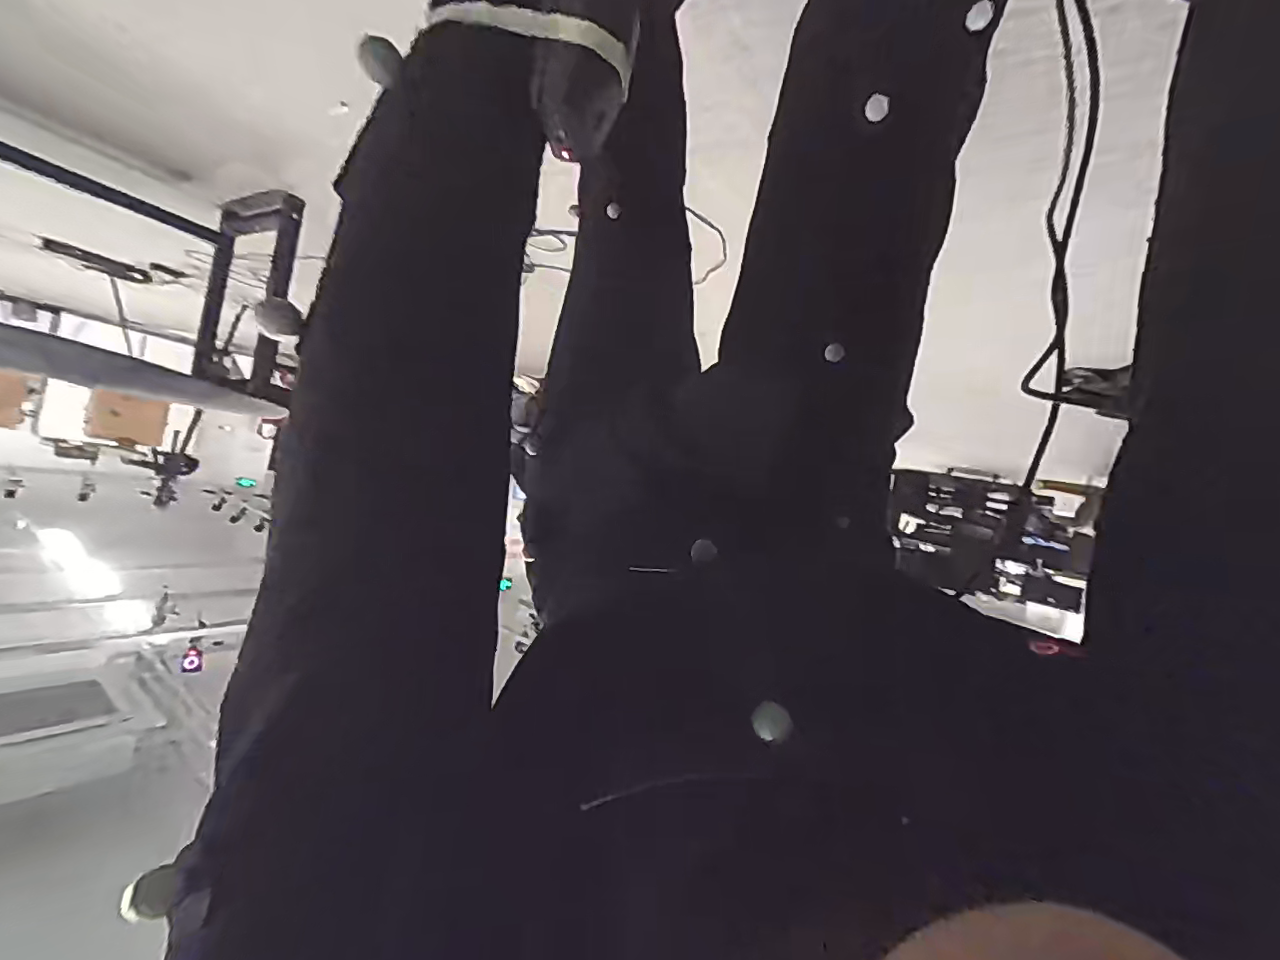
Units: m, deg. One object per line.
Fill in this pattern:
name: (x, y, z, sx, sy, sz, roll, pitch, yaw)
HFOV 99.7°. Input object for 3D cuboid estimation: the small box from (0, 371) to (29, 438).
small box: (-1.772, -0.218, 1.435, 0.179, 0.176, 0.168, 11, 179, 33)

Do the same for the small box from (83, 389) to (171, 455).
small box: (-1.600, -0.182, 1.689, 0.179, 0.176, 0.168, 13, 179, 39)
